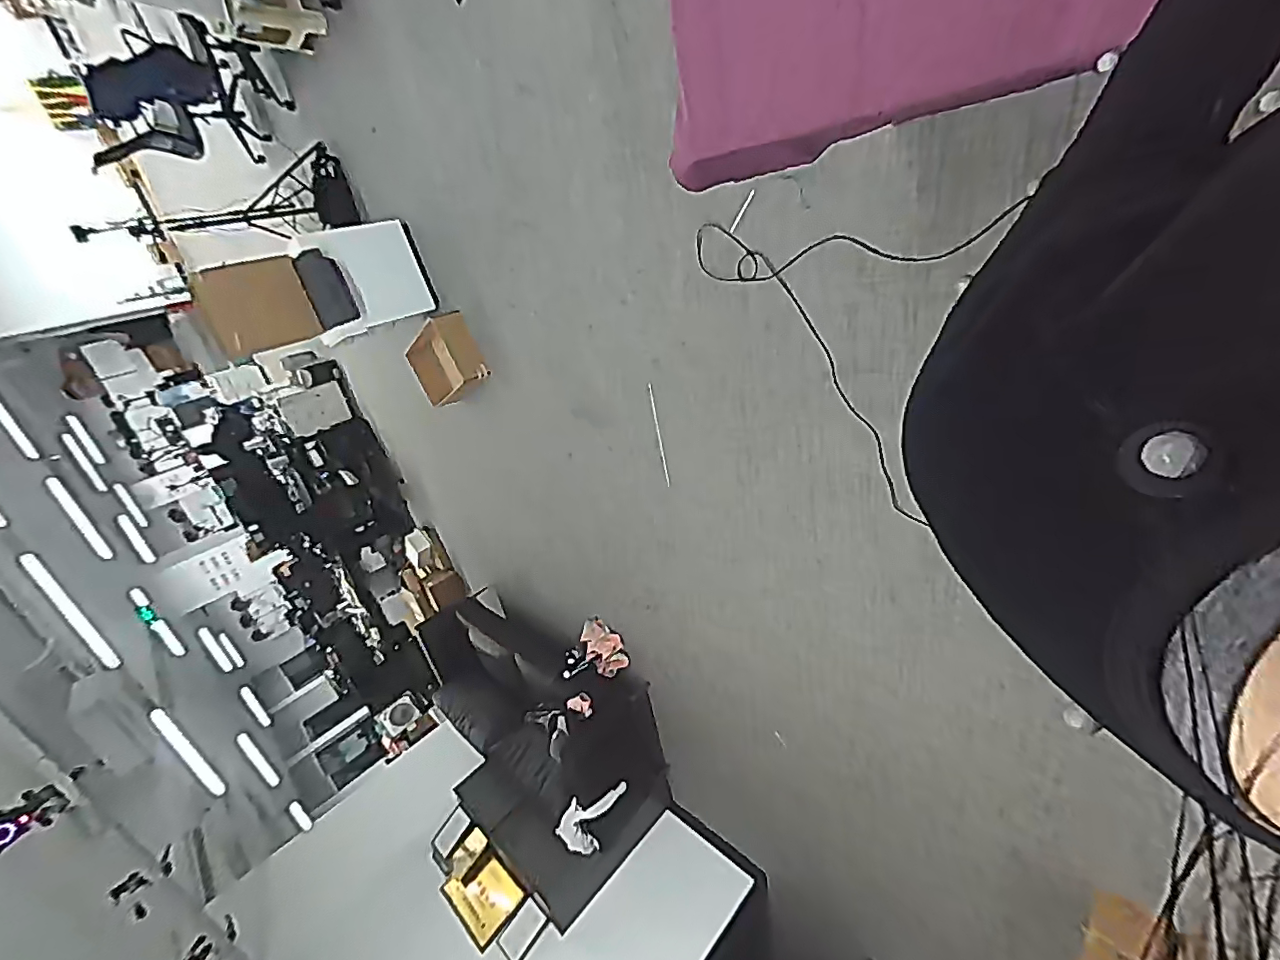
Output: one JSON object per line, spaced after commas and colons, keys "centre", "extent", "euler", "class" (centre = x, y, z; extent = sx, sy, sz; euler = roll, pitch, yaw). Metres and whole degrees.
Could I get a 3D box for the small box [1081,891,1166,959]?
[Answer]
{"centre": [1.530, 1.469, 1.709], "extent": [0.168, 0.176, 0.179], "euler": [16, 125, 43], "class": "small box"}
